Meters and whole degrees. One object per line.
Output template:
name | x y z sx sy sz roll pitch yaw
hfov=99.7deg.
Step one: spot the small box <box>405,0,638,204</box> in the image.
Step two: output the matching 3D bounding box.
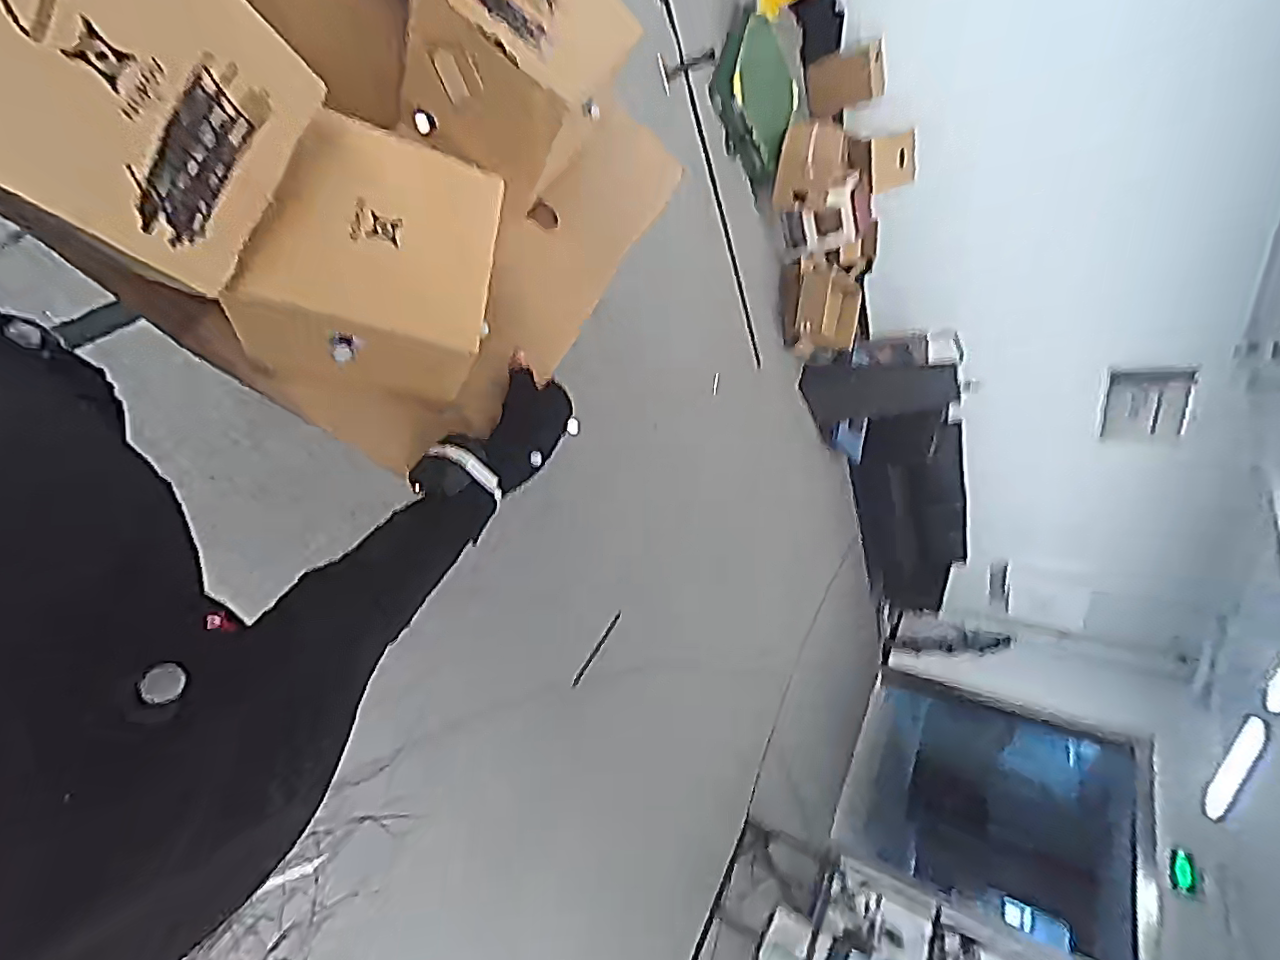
small box | -0.136 -0.451 0.594 0.168 0.176 0.179 36 63 -17
